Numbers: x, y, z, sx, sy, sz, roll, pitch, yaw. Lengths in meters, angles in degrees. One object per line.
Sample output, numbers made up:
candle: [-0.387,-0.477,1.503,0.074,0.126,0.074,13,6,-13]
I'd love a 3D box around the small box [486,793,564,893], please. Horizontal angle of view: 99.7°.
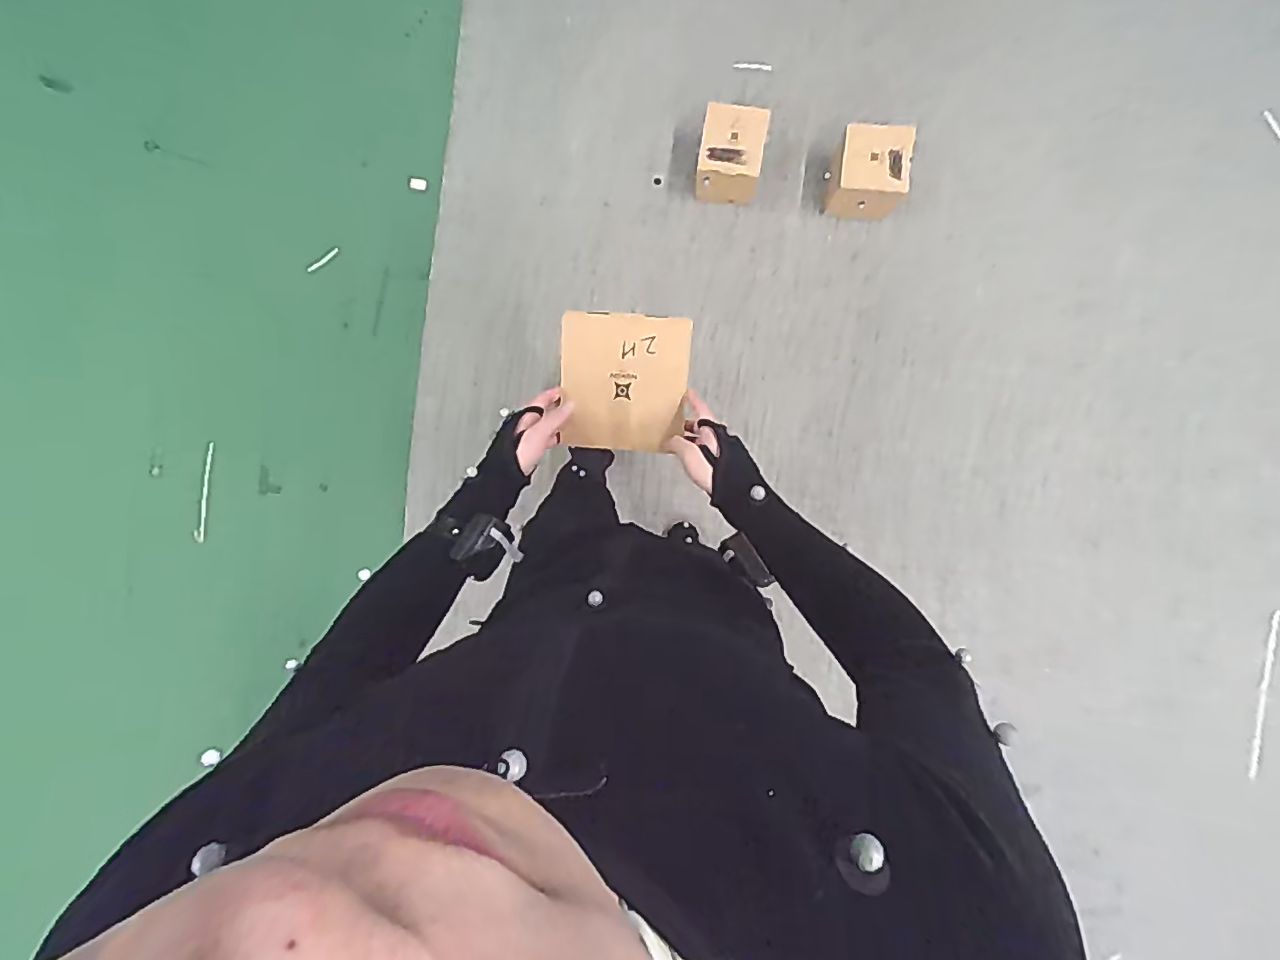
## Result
small box: [-0.328,1.053,1.580,0.179,0.176,0.168,9,92,3]

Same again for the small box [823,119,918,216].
small box: [0.608,-0.825,1.444,0.179,0.176,0.168,7,92,4]

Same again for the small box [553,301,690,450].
small box: [-0.020,-0.150,0.761,0.168,0.176,0.179,5,104,4]
